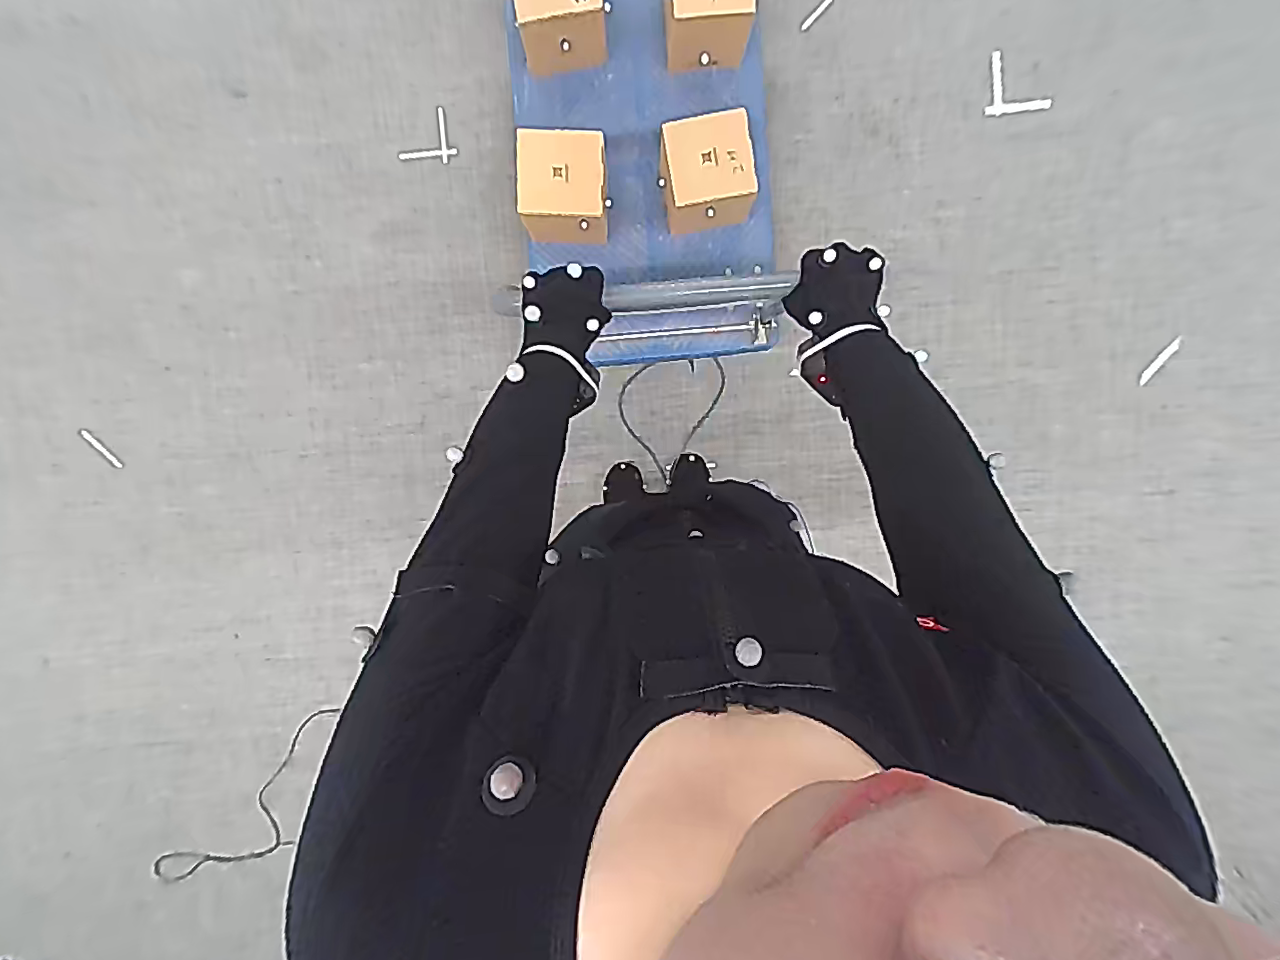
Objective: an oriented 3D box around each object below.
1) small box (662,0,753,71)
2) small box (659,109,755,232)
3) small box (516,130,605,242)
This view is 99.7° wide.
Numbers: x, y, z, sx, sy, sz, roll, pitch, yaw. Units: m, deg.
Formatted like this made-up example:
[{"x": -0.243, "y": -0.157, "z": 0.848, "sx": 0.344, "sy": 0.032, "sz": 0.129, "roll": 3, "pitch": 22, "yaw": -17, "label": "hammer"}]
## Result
[{"x": 0.136, "y": -1.017, "z": 1.148, "sx": 0.168, "sy": 0.176, "sz": 0.179, "roll": -5, "pitch": 96, "yaw": 0, "label": "small box"}, {"x": 0.138, "y": -0.663, "z": 1.181, "sx": 0.179, "sy": 0.176, "sz": 0.168, "roll": -10, "pitch": 96, "yaw": 1, "label": "small box"}, {"x": -0.168, "y": -0.633, "z": 1.182, "sx": 0.179, "sy": 0.176, "sz": 0.168, "roll": 0, "pitch": 95, "yaw": -2, "label": "small box"}]
